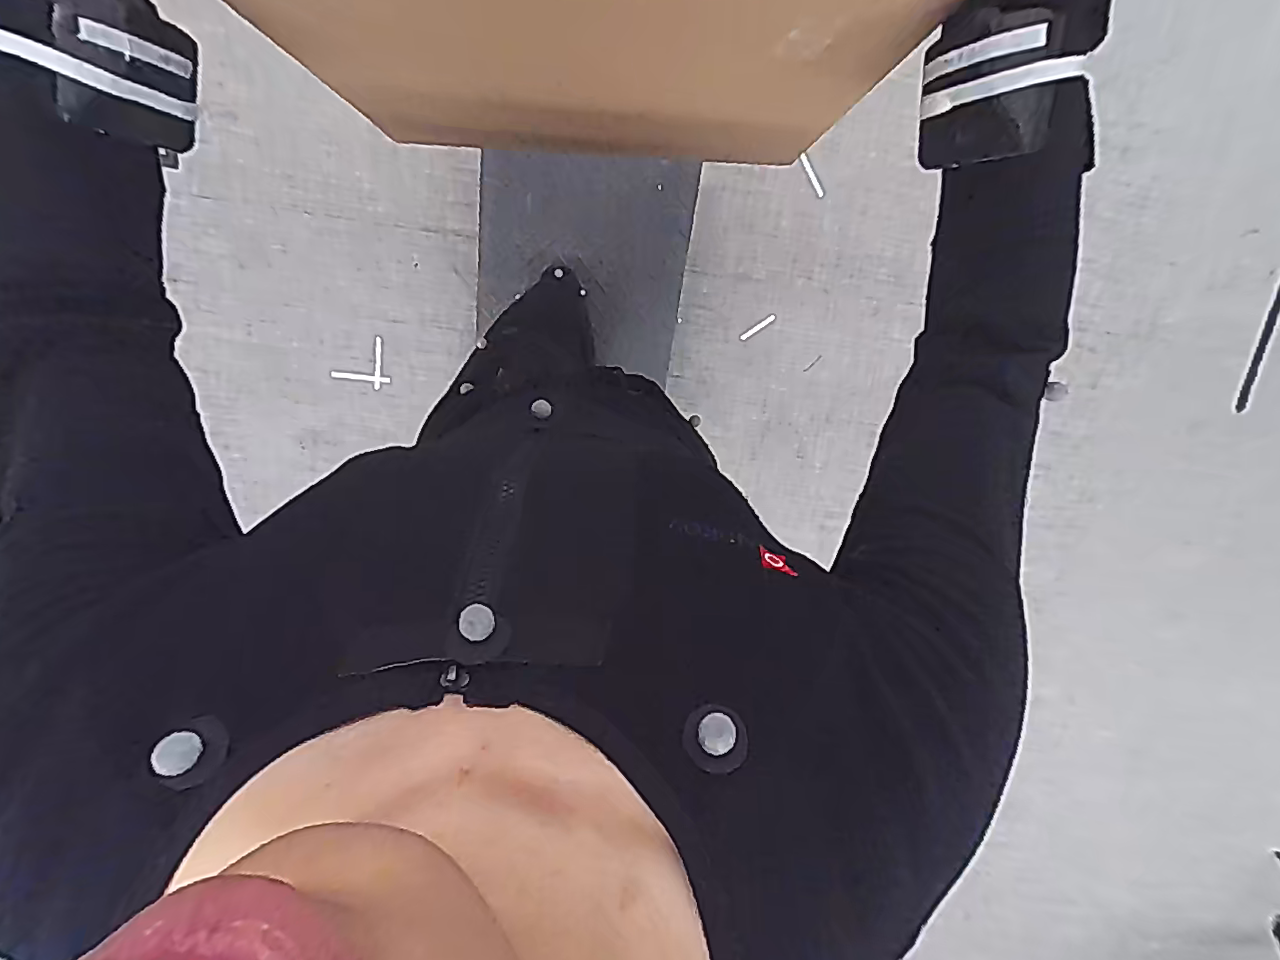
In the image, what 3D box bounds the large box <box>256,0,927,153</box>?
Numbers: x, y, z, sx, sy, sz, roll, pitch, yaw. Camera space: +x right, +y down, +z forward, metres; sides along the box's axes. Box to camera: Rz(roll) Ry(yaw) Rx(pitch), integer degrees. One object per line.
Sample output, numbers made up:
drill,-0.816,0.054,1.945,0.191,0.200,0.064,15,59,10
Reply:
large box,-0.034,-0.446,0.369,0.408,0.320,0.320,1,106,-3
